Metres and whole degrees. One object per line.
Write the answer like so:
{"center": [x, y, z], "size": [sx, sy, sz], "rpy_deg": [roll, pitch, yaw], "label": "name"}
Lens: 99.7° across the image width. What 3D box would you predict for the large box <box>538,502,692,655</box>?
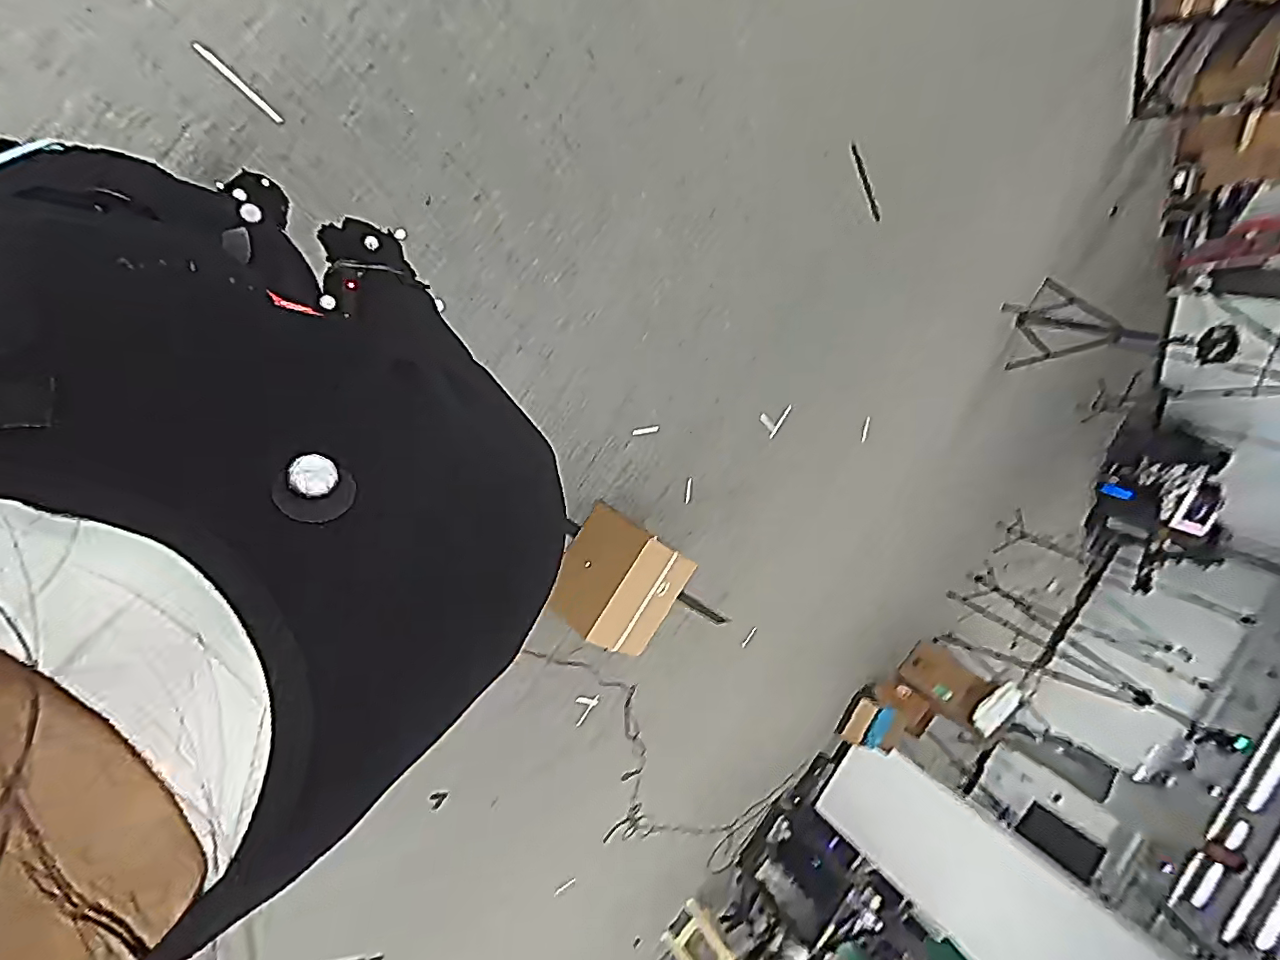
{"center": [-0.093, 0.354, 1.946], "size": [0.320, 0.320, 0.408], "rpy_deg": [35, 86, -46], "label": "large box"}
